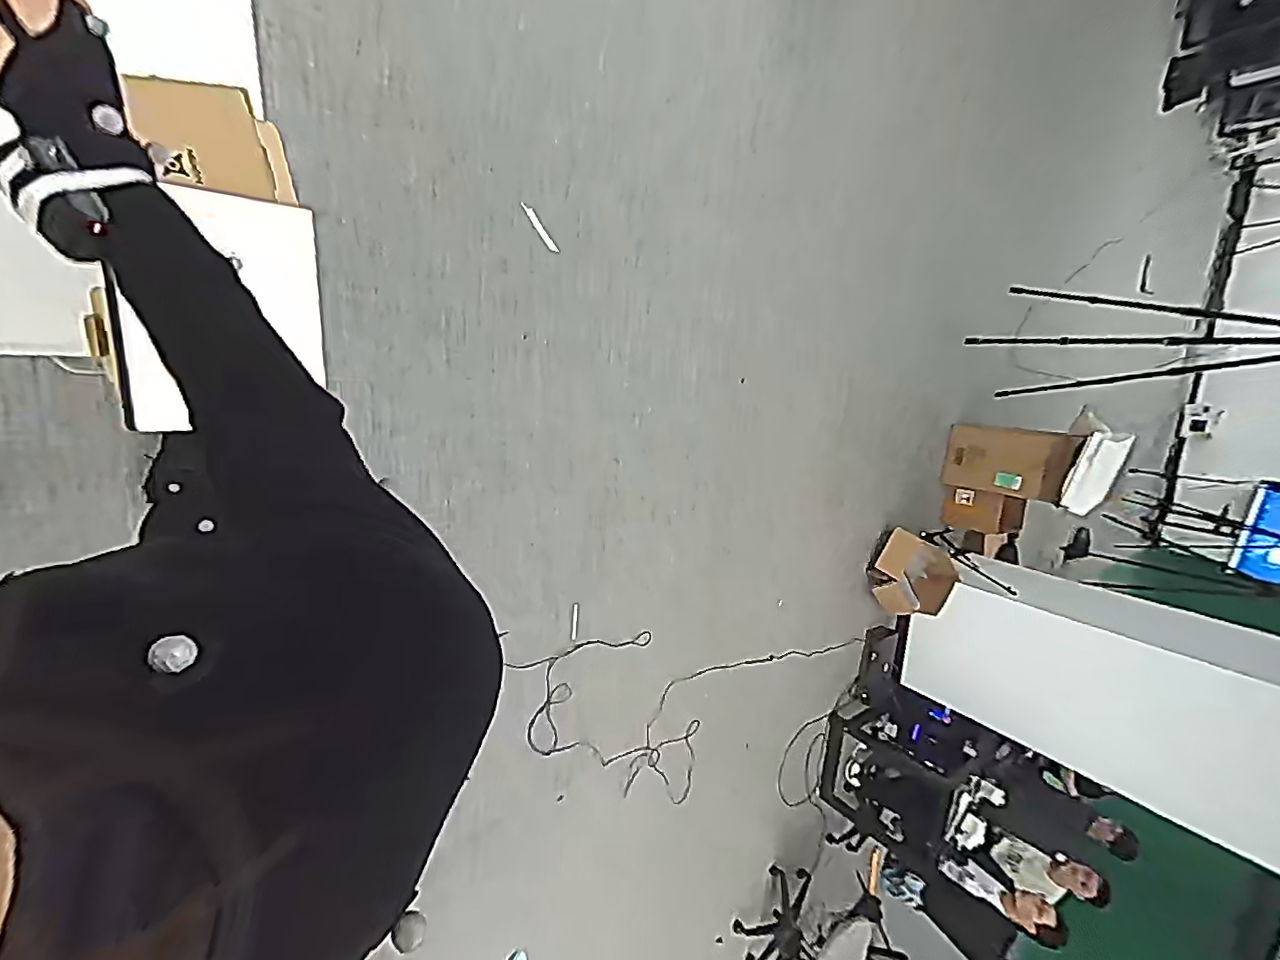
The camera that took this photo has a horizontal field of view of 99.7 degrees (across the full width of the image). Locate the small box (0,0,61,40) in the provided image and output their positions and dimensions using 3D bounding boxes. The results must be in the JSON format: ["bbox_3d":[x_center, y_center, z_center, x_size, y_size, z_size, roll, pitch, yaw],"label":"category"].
[{"bbox_3d":[-0.532,-0.402,0.344,0.168,0.176,0.179,-18,132,-27],"label":"small box"}]
